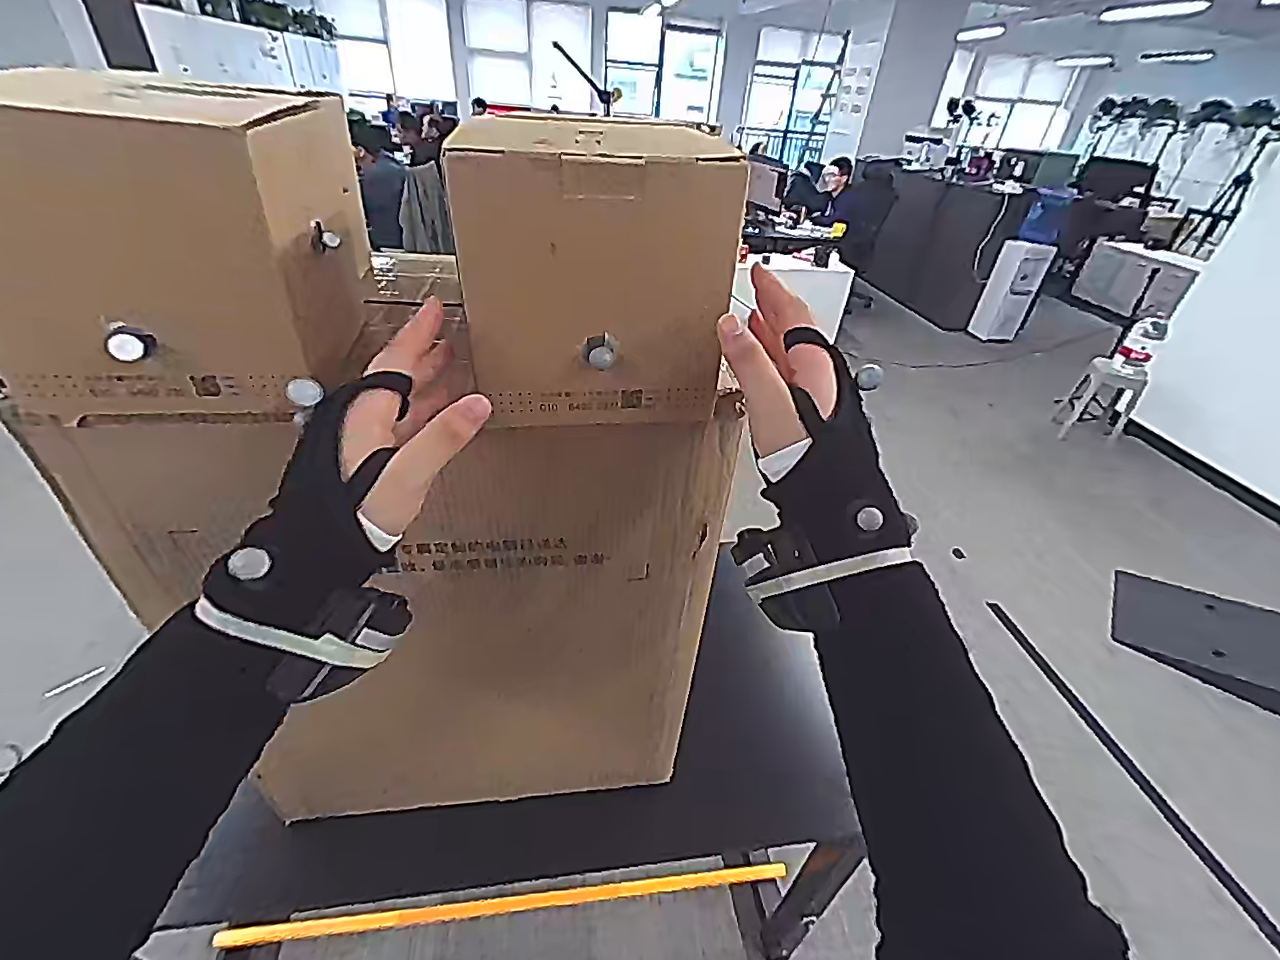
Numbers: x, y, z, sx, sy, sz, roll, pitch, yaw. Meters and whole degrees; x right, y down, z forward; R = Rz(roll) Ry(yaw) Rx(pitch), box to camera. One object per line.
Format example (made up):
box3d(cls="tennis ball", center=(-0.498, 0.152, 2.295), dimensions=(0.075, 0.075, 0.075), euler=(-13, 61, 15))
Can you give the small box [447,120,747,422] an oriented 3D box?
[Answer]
box3d(cls="small box", center=(-0.036, -0.157, 0.403), dimensions=(0.168, 0.176, 0.179), euler=(-3, 38, -8))
